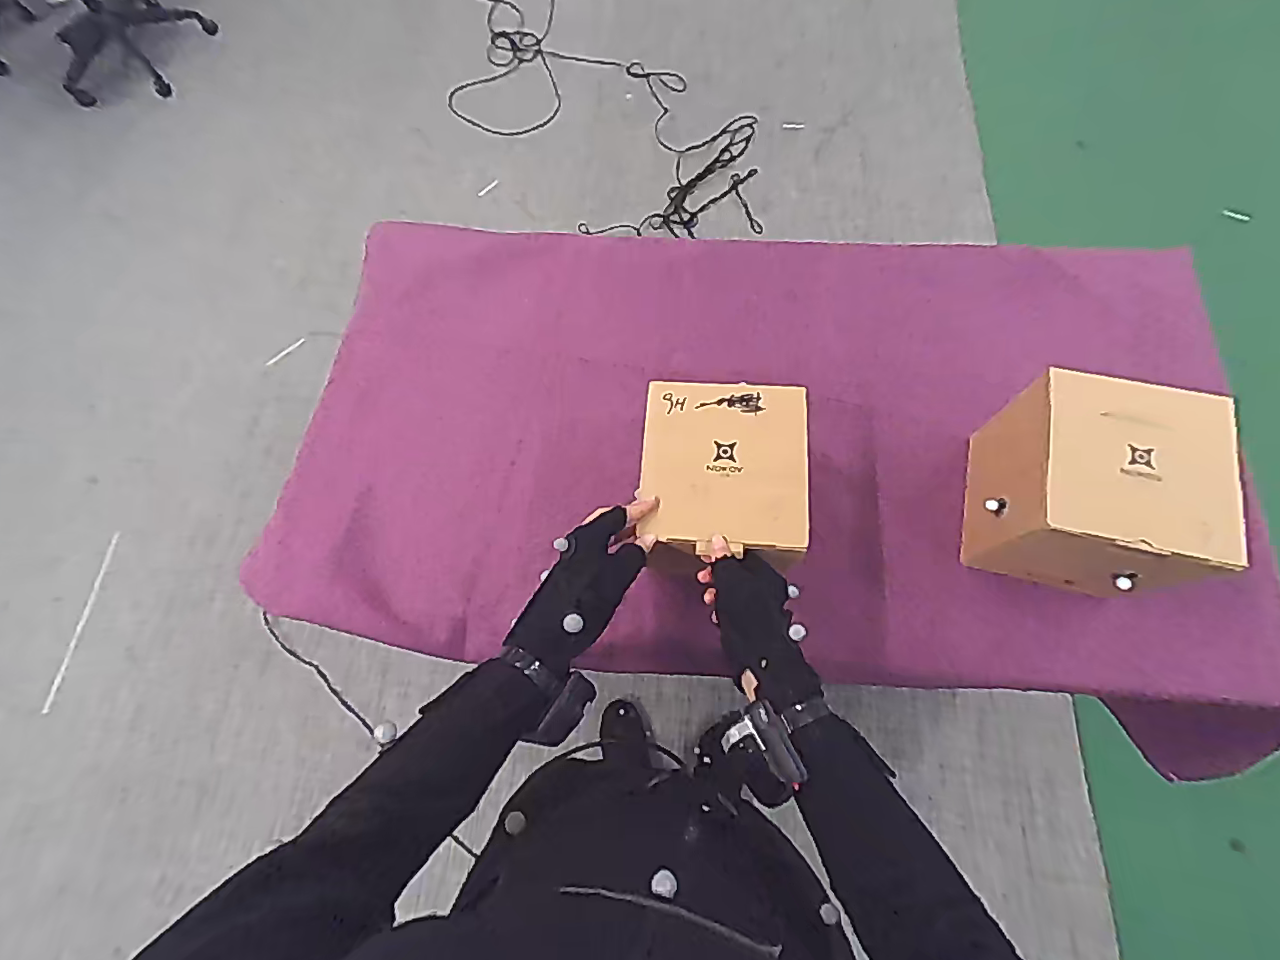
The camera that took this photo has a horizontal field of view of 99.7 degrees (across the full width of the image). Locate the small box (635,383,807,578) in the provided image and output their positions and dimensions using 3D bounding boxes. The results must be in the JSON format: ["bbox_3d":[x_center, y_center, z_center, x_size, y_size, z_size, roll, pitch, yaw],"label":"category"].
[{"bbox_3d":[0.090,0.010,0.614,0.168,0.176,0.179,3,70,6],"label":"small box"}]

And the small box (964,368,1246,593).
[{"bbox_3d":[0.475,0.010,0.581,0.168,0.176,0.179,13,71,10],"label":"small box"}]
